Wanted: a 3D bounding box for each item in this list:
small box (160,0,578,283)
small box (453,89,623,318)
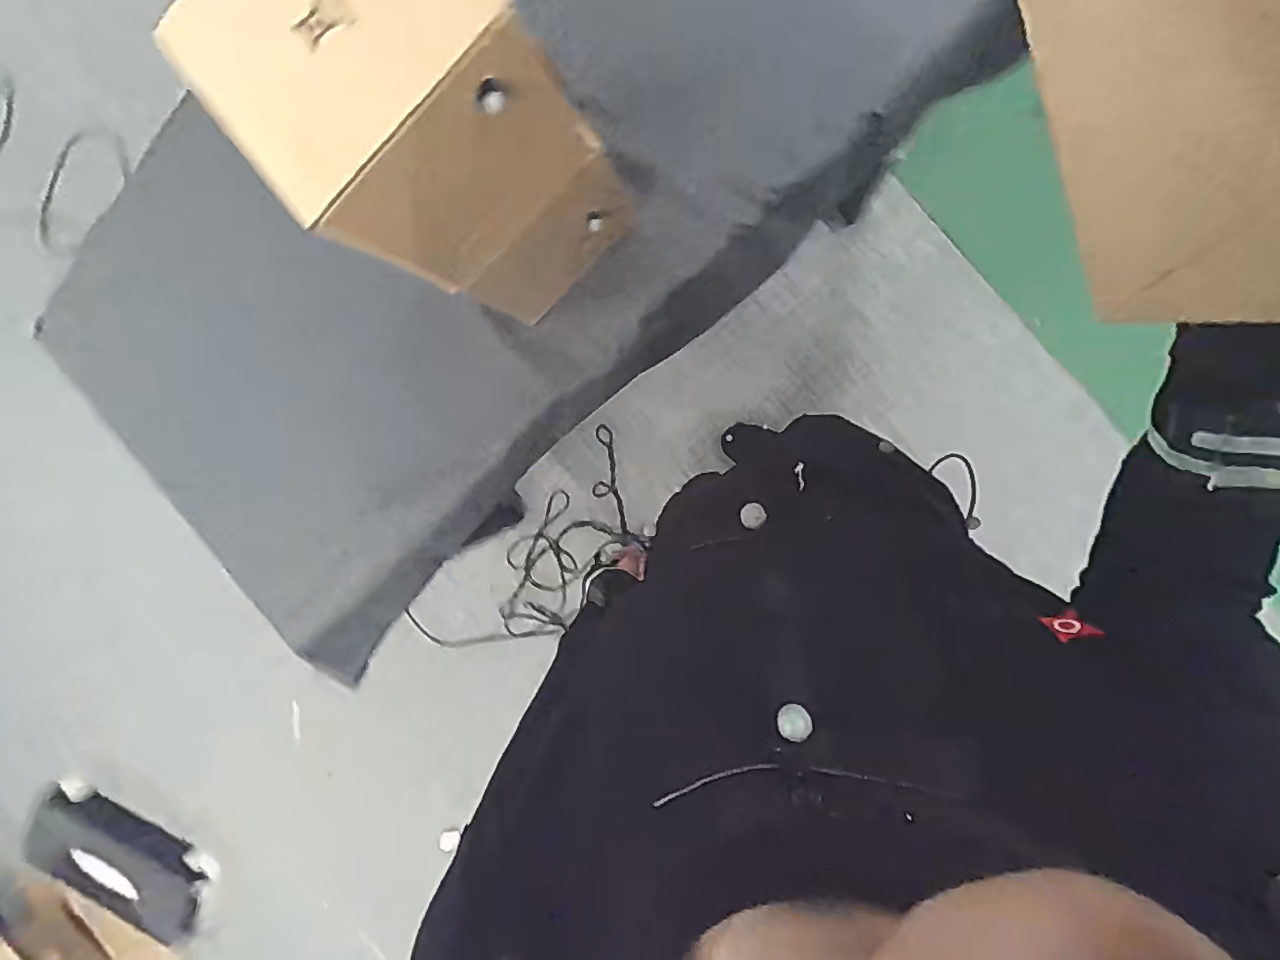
[{"bbox_3d":[-0.174,-0.278,0.396,0.179,0.176,0.168,-40,86,11],"label":"small box"},{"bbox_3d":[-0.134,-0.295,0.553,0.179,0.176,0.168,-42,86,13],"label":"small box"}]
